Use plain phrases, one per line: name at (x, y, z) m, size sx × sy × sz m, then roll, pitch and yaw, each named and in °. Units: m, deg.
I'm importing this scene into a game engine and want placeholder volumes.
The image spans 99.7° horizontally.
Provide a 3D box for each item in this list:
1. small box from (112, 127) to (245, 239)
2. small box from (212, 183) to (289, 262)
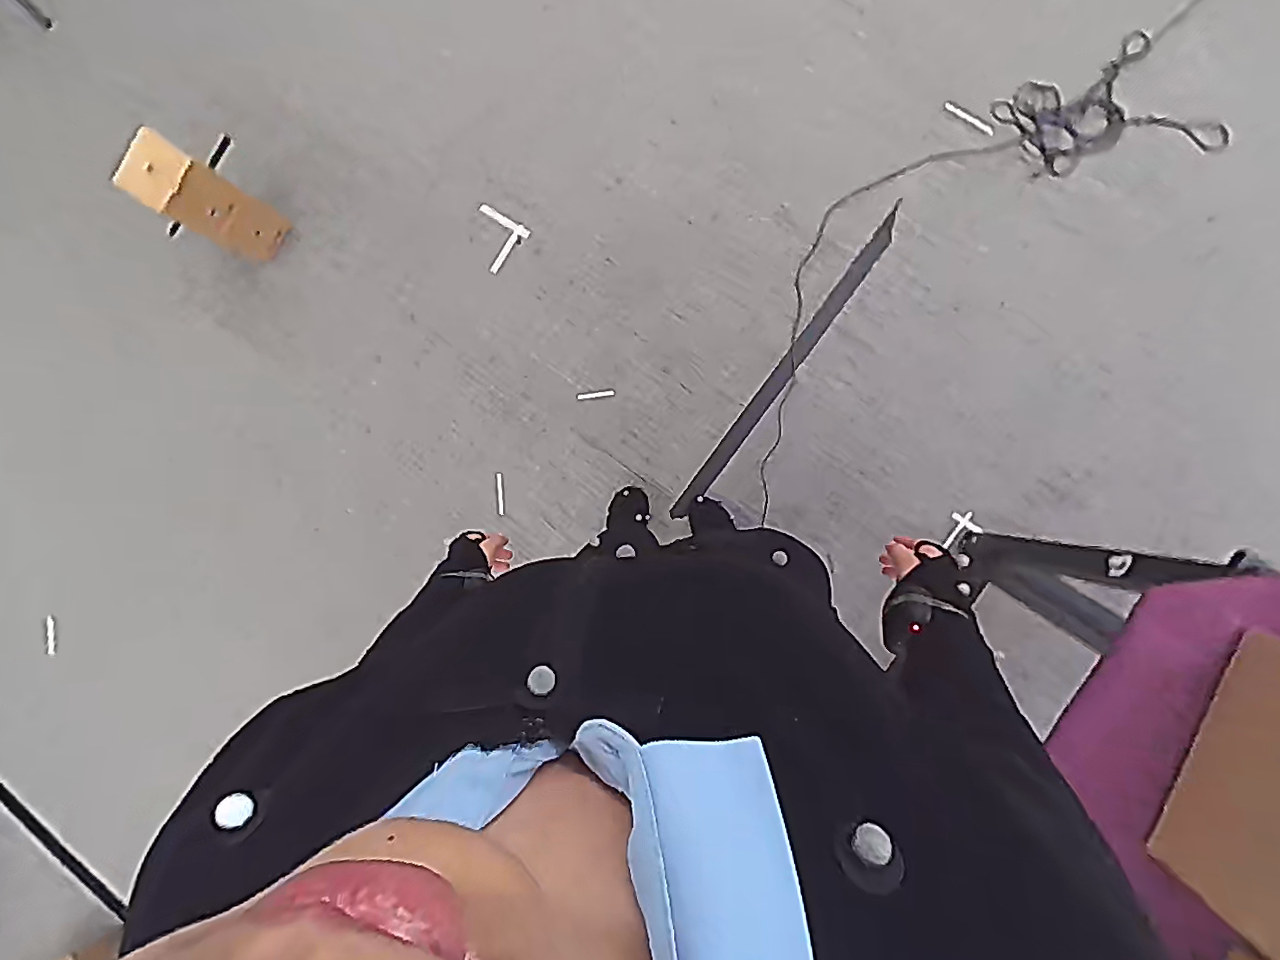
small box at (-1.216, -0.776, 1.435) m, size 0.179 × 0.176 × 0.168 m, roll 33°, pitch 93°, yaw 6°
small box at (-1.194, -0.773, 1.597) m, size 0.179 × 0.176 × 0.168 m, roll 32°, pitch 93°, yaw 8°
